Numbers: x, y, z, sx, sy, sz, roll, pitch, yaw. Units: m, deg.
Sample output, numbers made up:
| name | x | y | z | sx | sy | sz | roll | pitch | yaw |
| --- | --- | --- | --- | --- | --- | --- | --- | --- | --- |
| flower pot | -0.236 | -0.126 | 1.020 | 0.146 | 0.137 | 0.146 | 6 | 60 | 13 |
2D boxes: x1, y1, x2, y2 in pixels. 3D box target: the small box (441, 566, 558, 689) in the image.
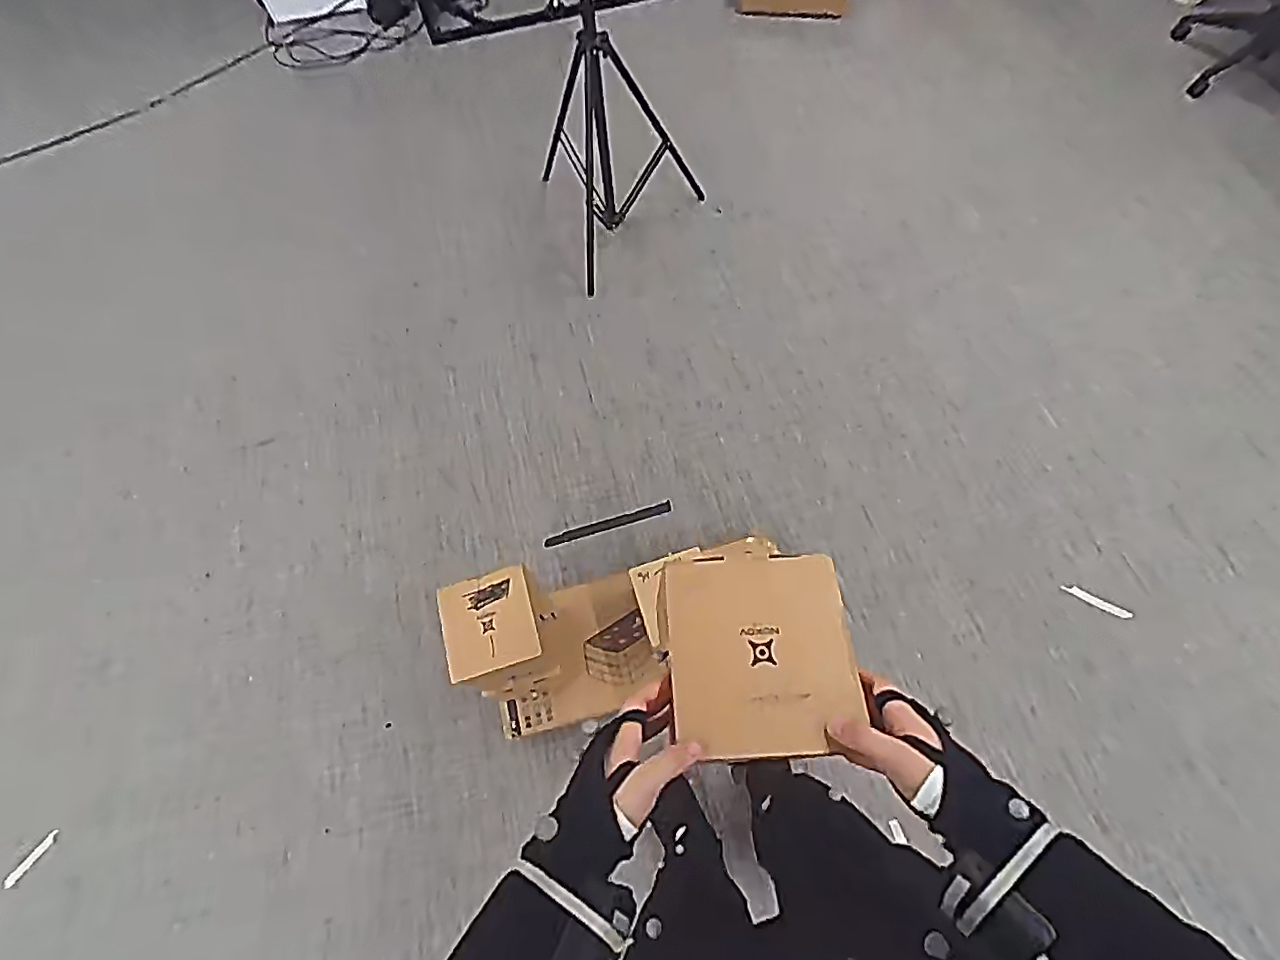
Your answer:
| name | x | y | z | sx | sy | sz | roll | pitch | yaw |
| --- | --- | --- | --- | --- | --- | --- | --- | --- | --- |
| small box | -0.267 | 0.291 | 1.051 | 0.168 | 0.176 | 0.179 | -17 | 66 | -5 |

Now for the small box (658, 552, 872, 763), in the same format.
| name | x | y | z | sx | sy | sz | roll | pitch | yaw |
| --- | --- | --- | --- | --- | --- | --- | --- | --- | --- |
| small box | 0.108 | 0.188 | 0.557 | 0.168 | 0.176 | 0.179 | -3 | 62 | -2 |

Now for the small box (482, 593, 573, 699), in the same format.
| name | x | y | z | sx | sy | sz | roll | pitch | yaw |
| --- | --- | --- | --- | --- | --- | --- | --- | --- | --- |
| small box | -0.254 | 0.372 | 1.194 | 0.168 | 0.176 | 0.179 | -16 | 66 | -4 |

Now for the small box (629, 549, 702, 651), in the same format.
| name | x | y | z | sx | sy | sz | roll | pitch | yaw |
| --- | --- | --- | --- | --- | --- | --- | --- | --- | --- |
| small box | 0.083 | 0.279 | 1.220 | 0.168 | 0.176 | 0.179 | -17 | 67 | -3 |
